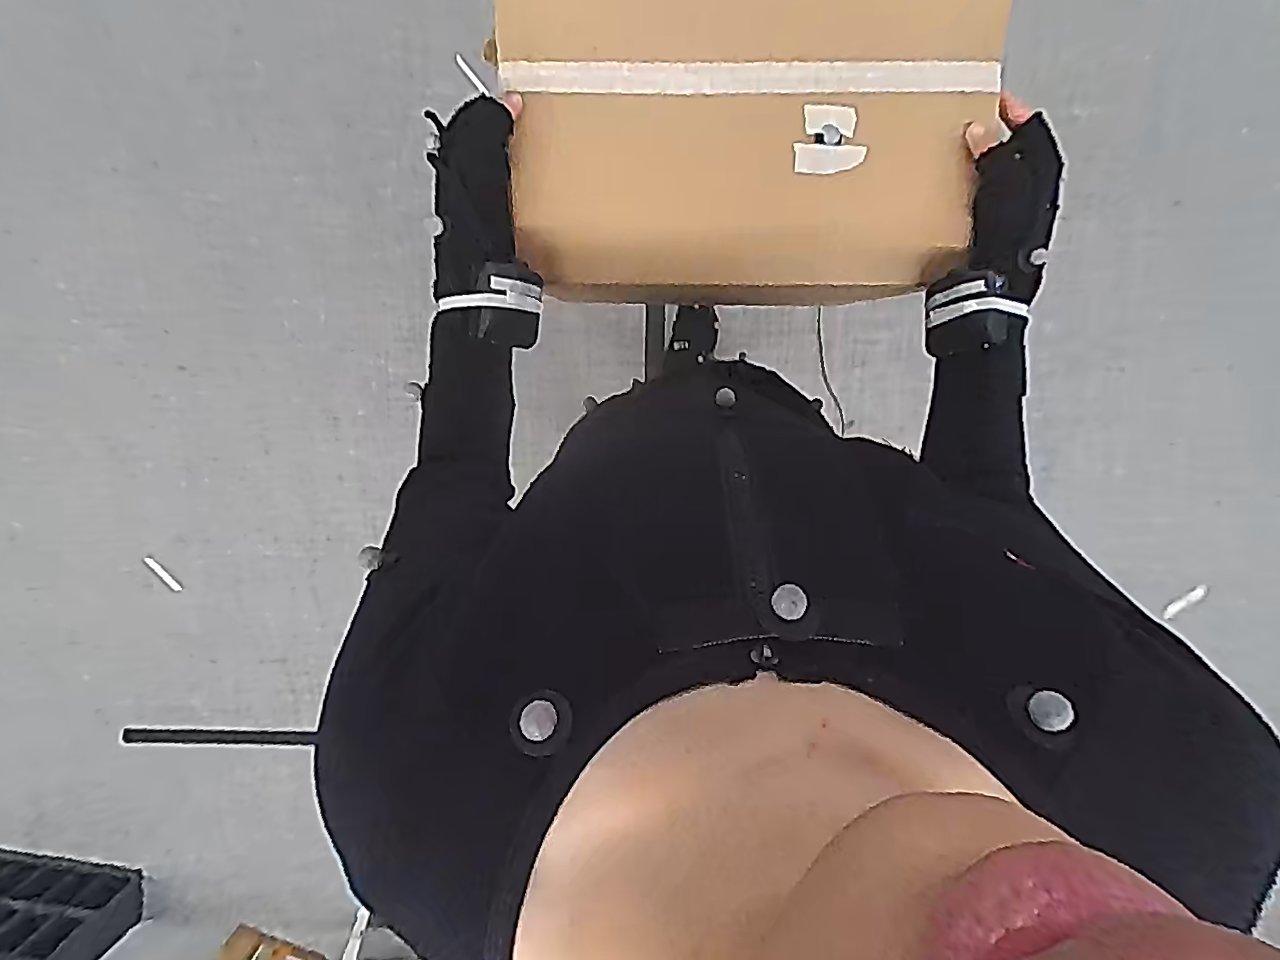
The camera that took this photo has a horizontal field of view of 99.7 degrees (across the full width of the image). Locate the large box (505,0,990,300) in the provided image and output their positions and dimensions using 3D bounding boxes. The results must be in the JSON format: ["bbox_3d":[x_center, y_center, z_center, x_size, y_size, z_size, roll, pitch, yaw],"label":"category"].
[{"bbox_3d":[0.085,-0.377,0.600,0.408,0.320,0.320,-1,106,-1],"label":"large box"}]
